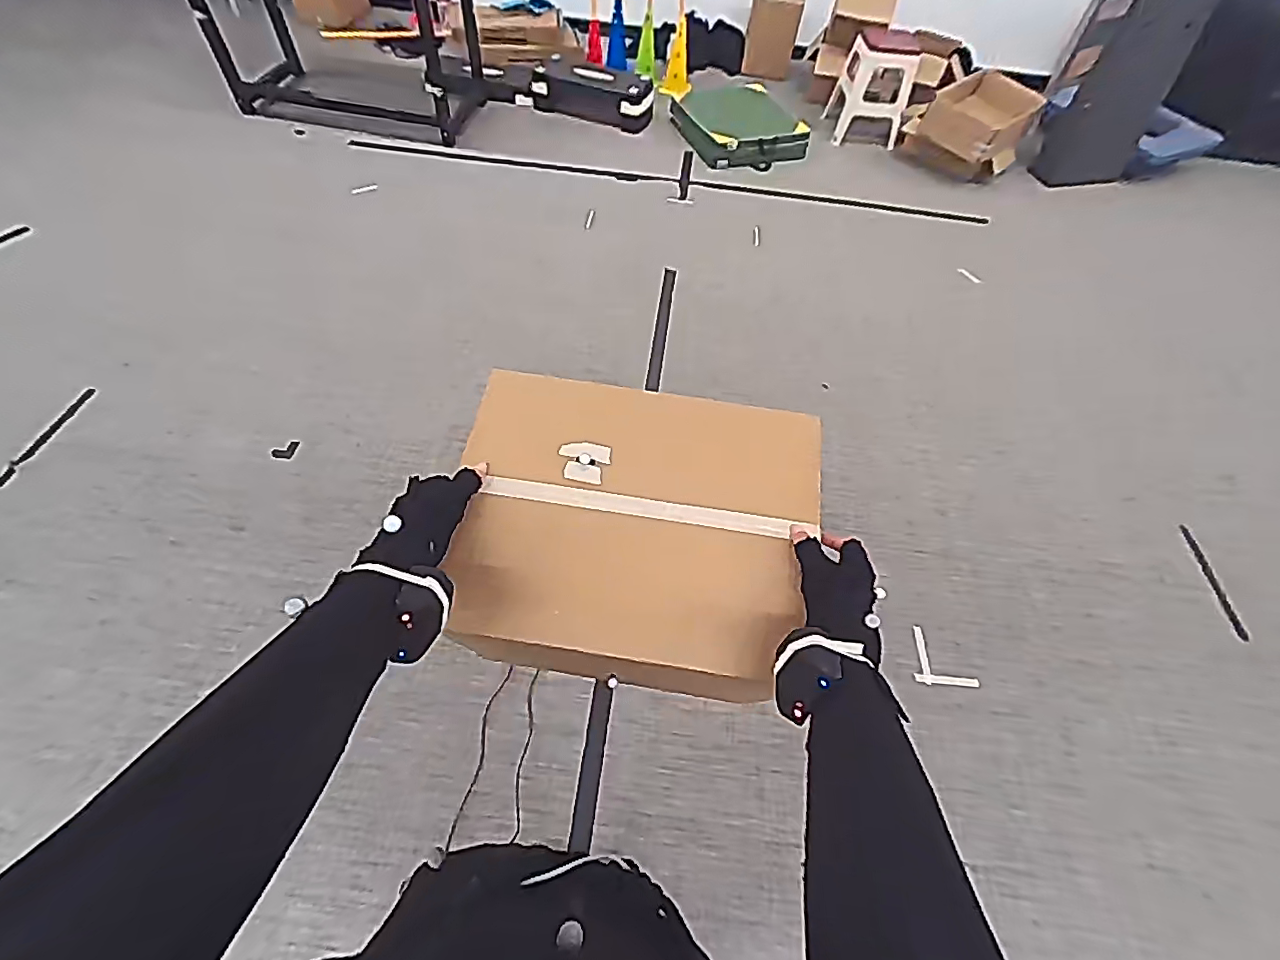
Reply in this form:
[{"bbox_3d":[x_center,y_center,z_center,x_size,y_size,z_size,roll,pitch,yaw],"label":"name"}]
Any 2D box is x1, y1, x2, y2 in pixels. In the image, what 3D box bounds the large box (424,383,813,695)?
[{"bbox_3d":[-0.007,0.102,0.741,0.408,0.320,0.320,9,64,3],"label":"large box"}]
